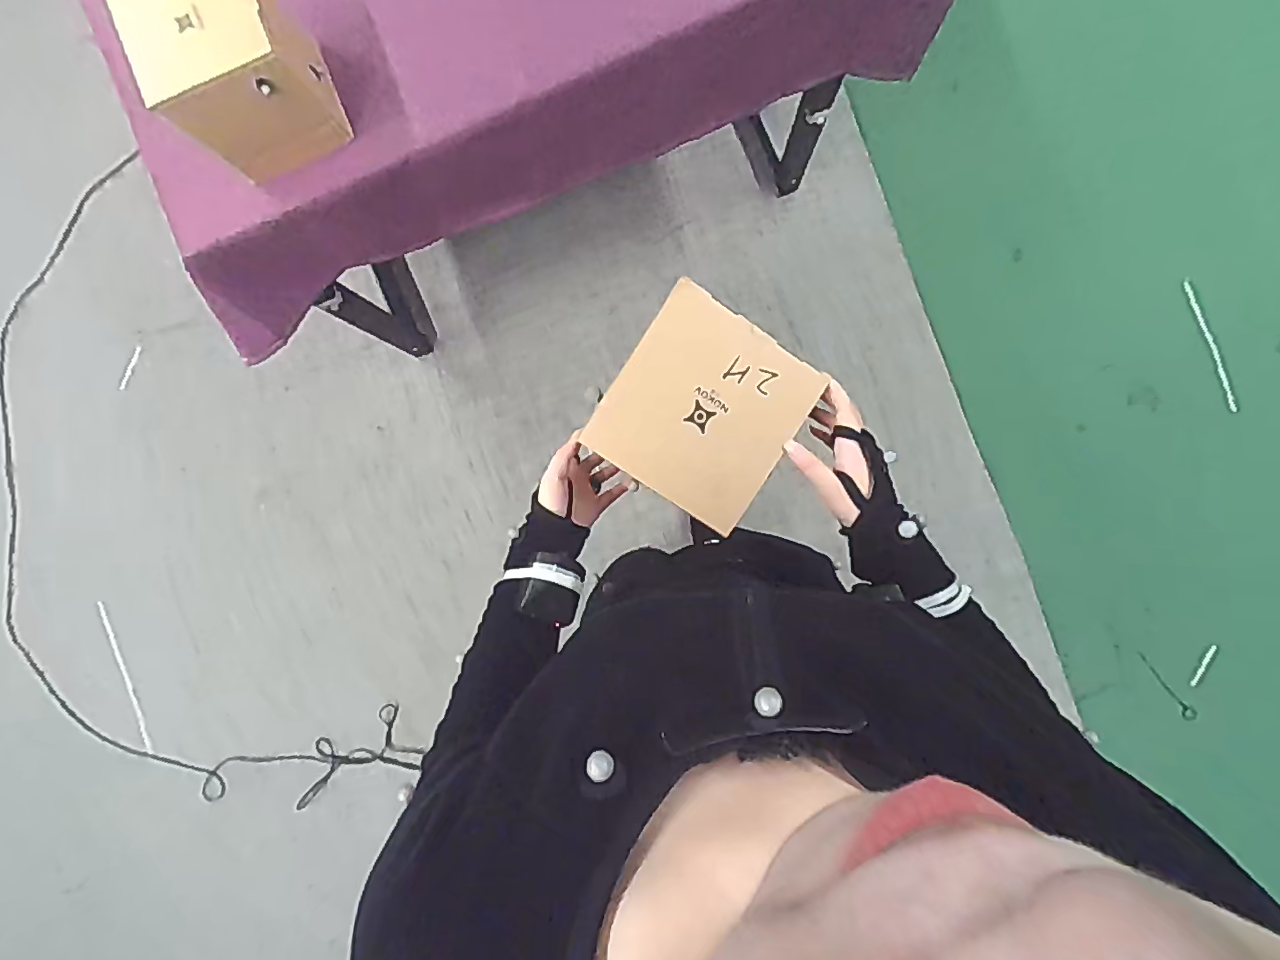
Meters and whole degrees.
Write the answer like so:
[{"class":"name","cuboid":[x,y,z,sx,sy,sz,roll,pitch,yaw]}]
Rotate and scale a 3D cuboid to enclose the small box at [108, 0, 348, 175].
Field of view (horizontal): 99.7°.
[{"class":"small box","cuboid":[-0.545,-0.560,0.736,0.179,0.176,0.168,-22,88,1]}]
